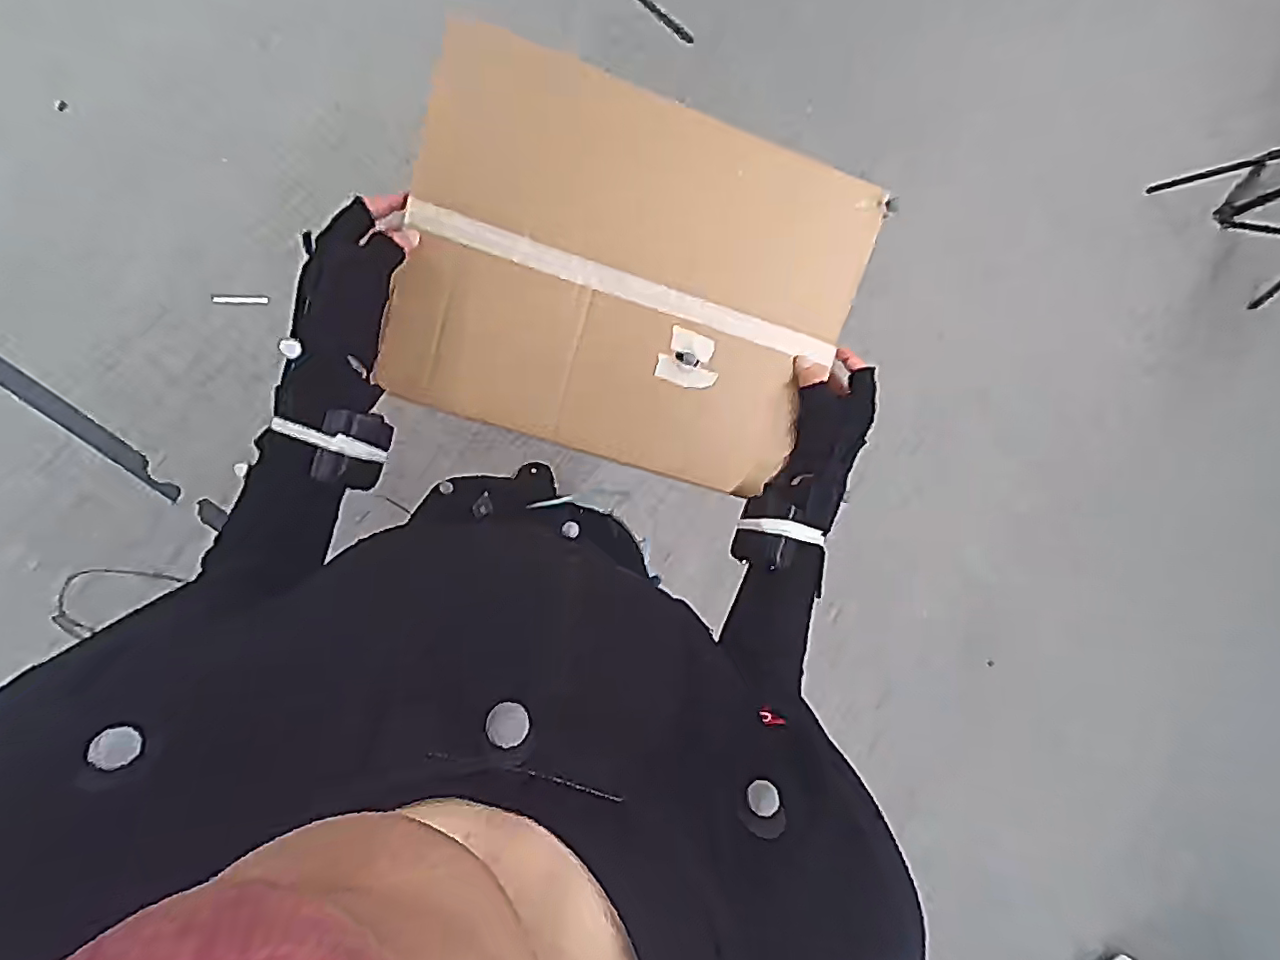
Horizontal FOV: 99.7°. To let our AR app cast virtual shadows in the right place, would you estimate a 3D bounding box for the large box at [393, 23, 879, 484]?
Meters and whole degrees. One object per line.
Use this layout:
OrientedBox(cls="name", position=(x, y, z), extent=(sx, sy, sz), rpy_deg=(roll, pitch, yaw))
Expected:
OrientedBox(cls="large box", position=(-0.020, -0.220, 0.652), extent=(0.408, 0.320, 0.320), rpy_deg=(16, 101, -11))
